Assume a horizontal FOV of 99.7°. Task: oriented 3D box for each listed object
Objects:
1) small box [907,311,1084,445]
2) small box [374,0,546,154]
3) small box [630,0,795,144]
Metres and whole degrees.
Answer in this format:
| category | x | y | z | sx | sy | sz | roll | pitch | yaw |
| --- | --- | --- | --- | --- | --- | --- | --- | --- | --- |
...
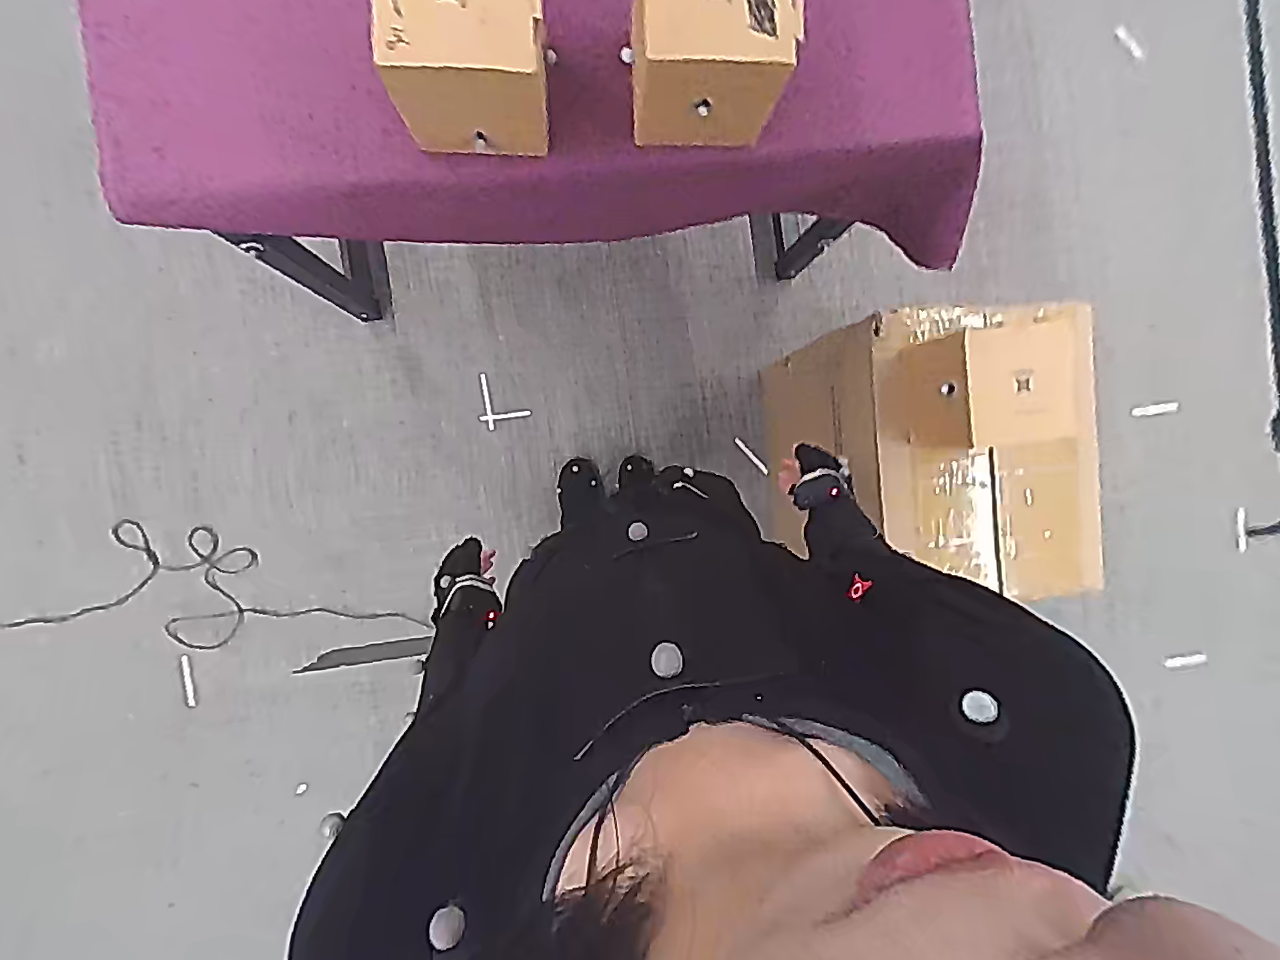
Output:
| category | x | y | z | sx | sy | sz | roll | pitch | yaw |
| --- | --- | --- | --- | --- | --- | --- | --- | --- | --- |
| small box | 0.545 | -0.151 | 0.851 | 0.168 | 0.176 | 0.179 | -8 | 94 | -2 |
| small box | -0.207 | -0.530 | 0.664 | 0.179 | 0.176 | 0.168 | -1 | 91 | -6 |
| small box | 0.082 | -0.559 | 0.689 | 0.179 | 0.176 | 0.168 | -2 | 91 | -4 |
